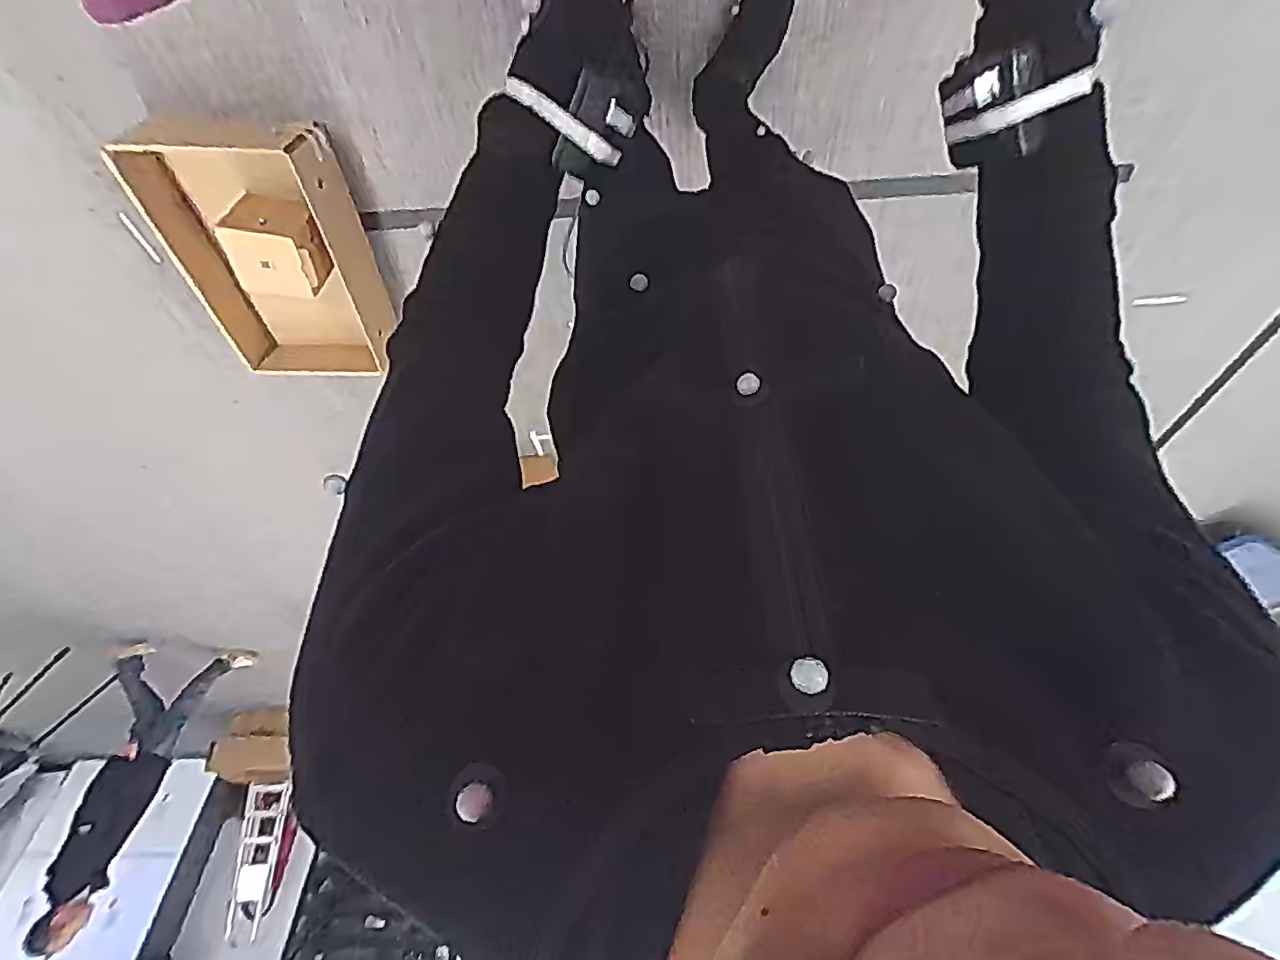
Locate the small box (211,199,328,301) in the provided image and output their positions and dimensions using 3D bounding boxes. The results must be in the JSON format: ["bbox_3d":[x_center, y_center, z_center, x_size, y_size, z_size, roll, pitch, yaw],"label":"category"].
[{"bbox_3d":[-0.904,-0.574,1.347,0.179,0.176,0.168,6,141,-8],"label":"small box"}]
